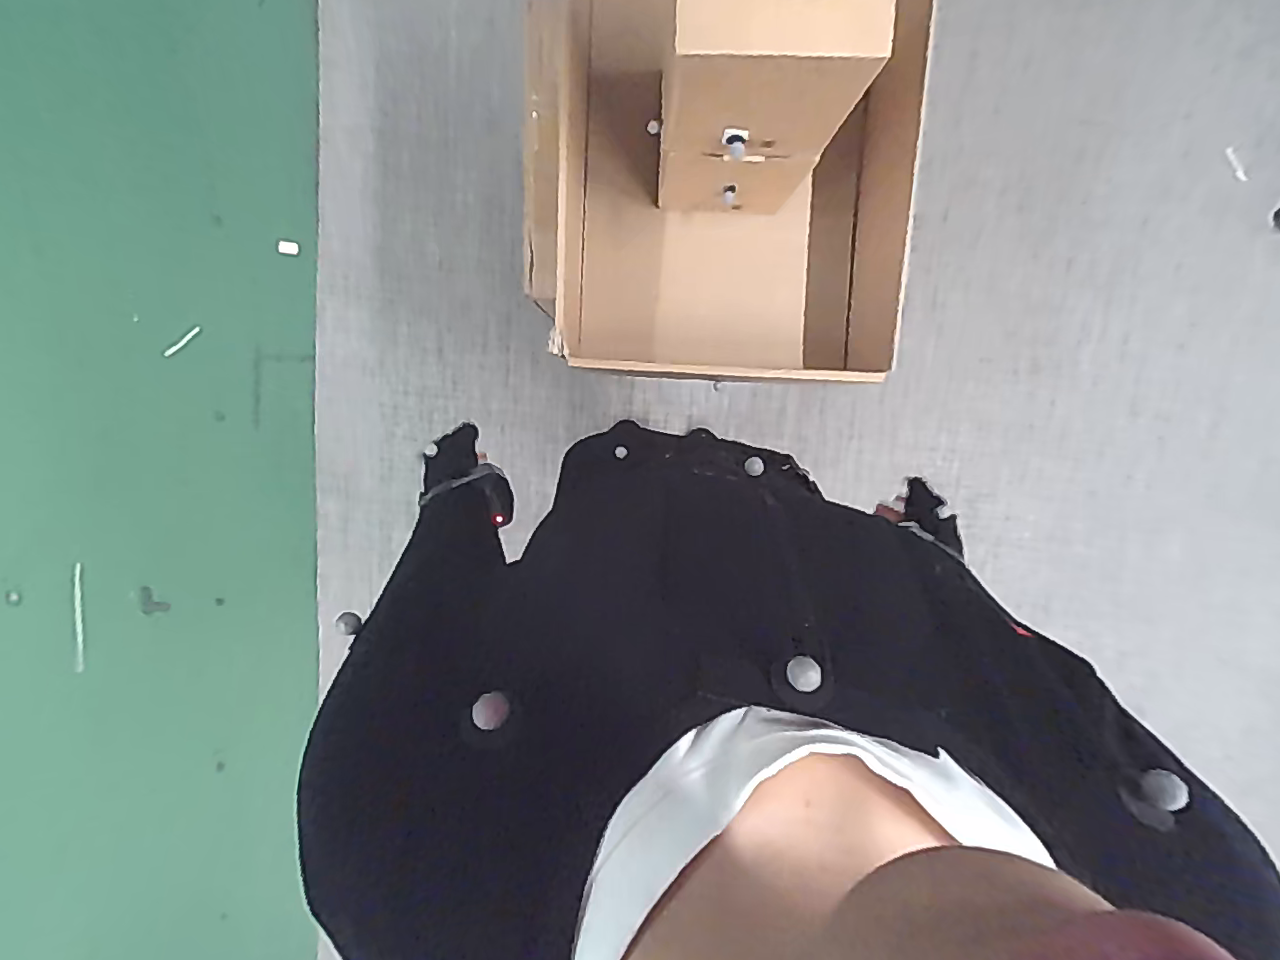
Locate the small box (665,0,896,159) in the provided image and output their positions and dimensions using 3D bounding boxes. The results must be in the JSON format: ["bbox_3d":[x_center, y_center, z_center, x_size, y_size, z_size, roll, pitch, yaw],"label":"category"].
[{"bbox_3d":[0.109,-0.415,0.475,0.168,0.176,0.179,1,98,0],"label":"small box"}]
